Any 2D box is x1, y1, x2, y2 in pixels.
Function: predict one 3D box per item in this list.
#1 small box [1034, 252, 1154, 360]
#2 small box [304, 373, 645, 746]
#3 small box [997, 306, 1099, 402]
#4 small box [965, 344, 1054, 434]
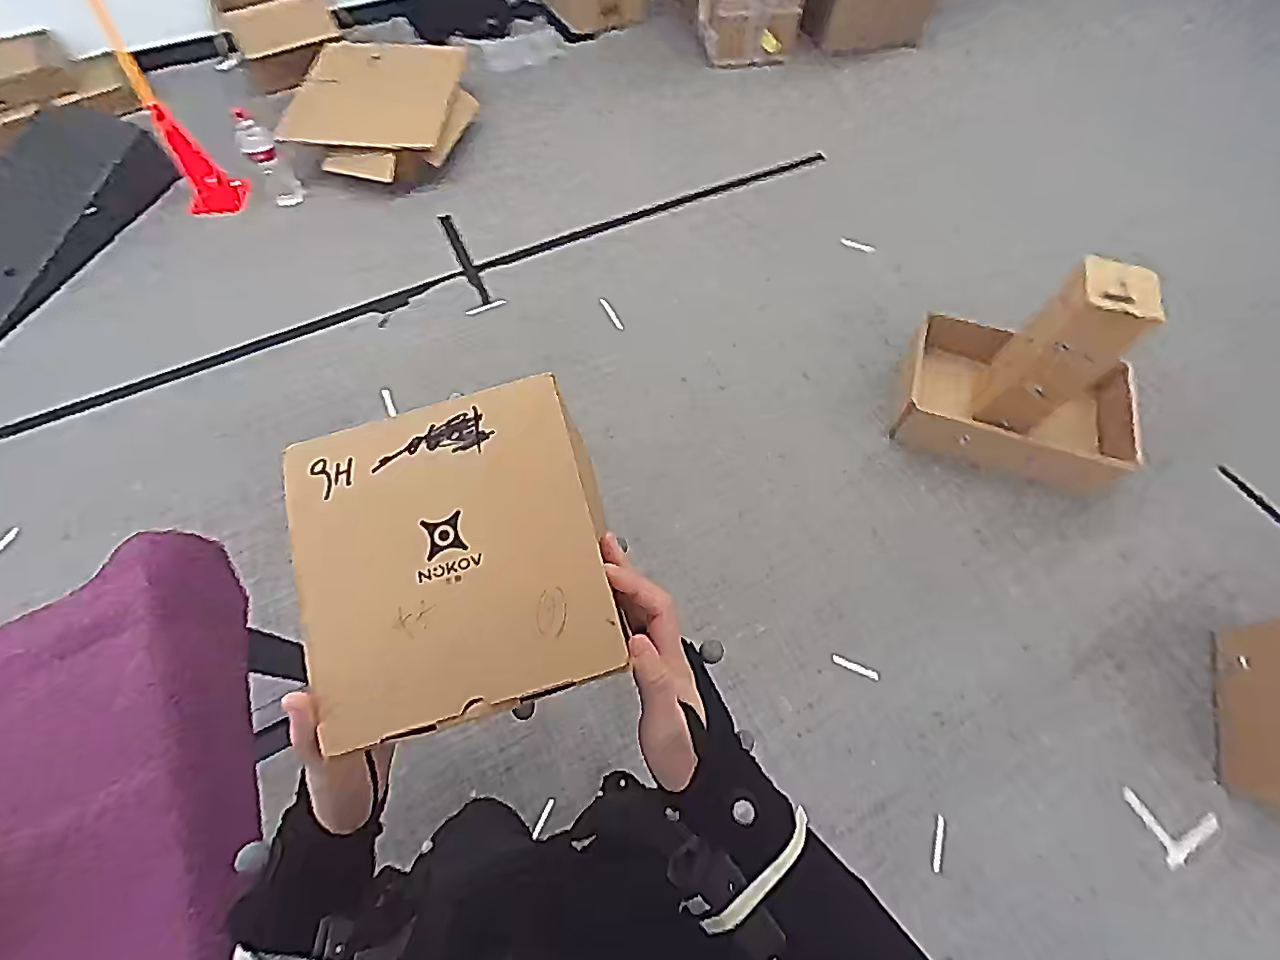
[{"bbox_3d":[1.124,-0.429,1.352,0.168,0.176,0.179,18,62,8],"label":"small box"},{"bbox_3d":[-0.094,0.054,0.378,0.168,0.176,0.179,-16,76,-3],"label":"small box"},{"bbox_3d":[1.122,-0.349,1.496,0.168,0.176,0.179,18,65,9],"label":"small box"},{"bbox_3d":[1.117,-0.273,1.639,0.168,0.176,0.179,20,64,10],"label":"small box"}]
